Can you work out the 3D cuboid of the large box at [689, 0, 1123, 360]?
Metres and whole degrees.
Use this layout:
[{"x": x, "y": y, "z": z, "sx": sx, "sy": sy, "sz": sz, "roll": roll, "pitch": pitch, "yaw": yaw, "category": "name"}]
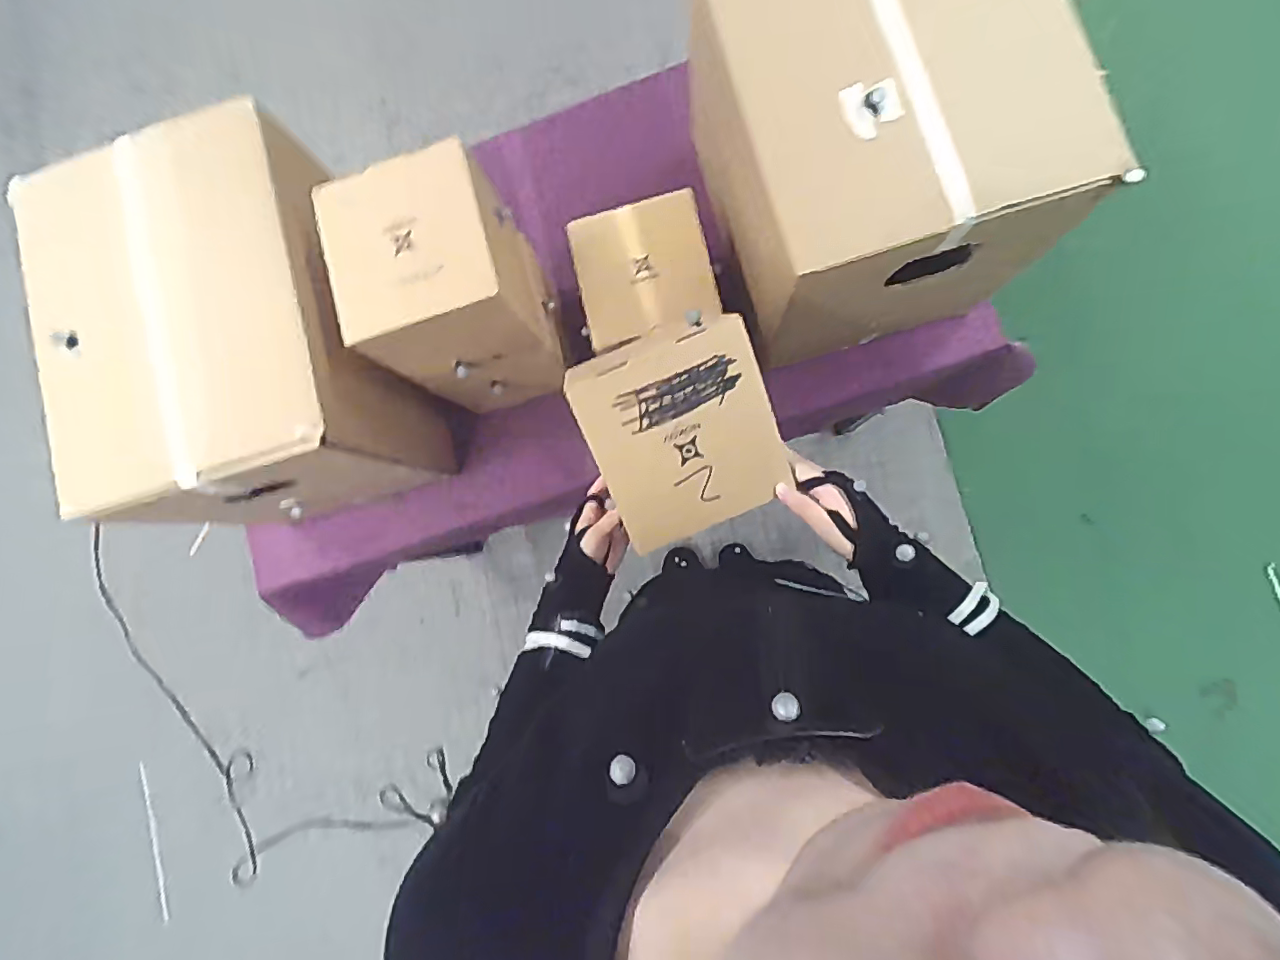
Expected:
[{"x": 0.262, "y": -0.418, "z": 0.677, "sx": 0.320, "sy": 0.320, "sz": 0.408, "roll": -16, "pitch": 84, "yaw": 5, "category": "large box"}]
